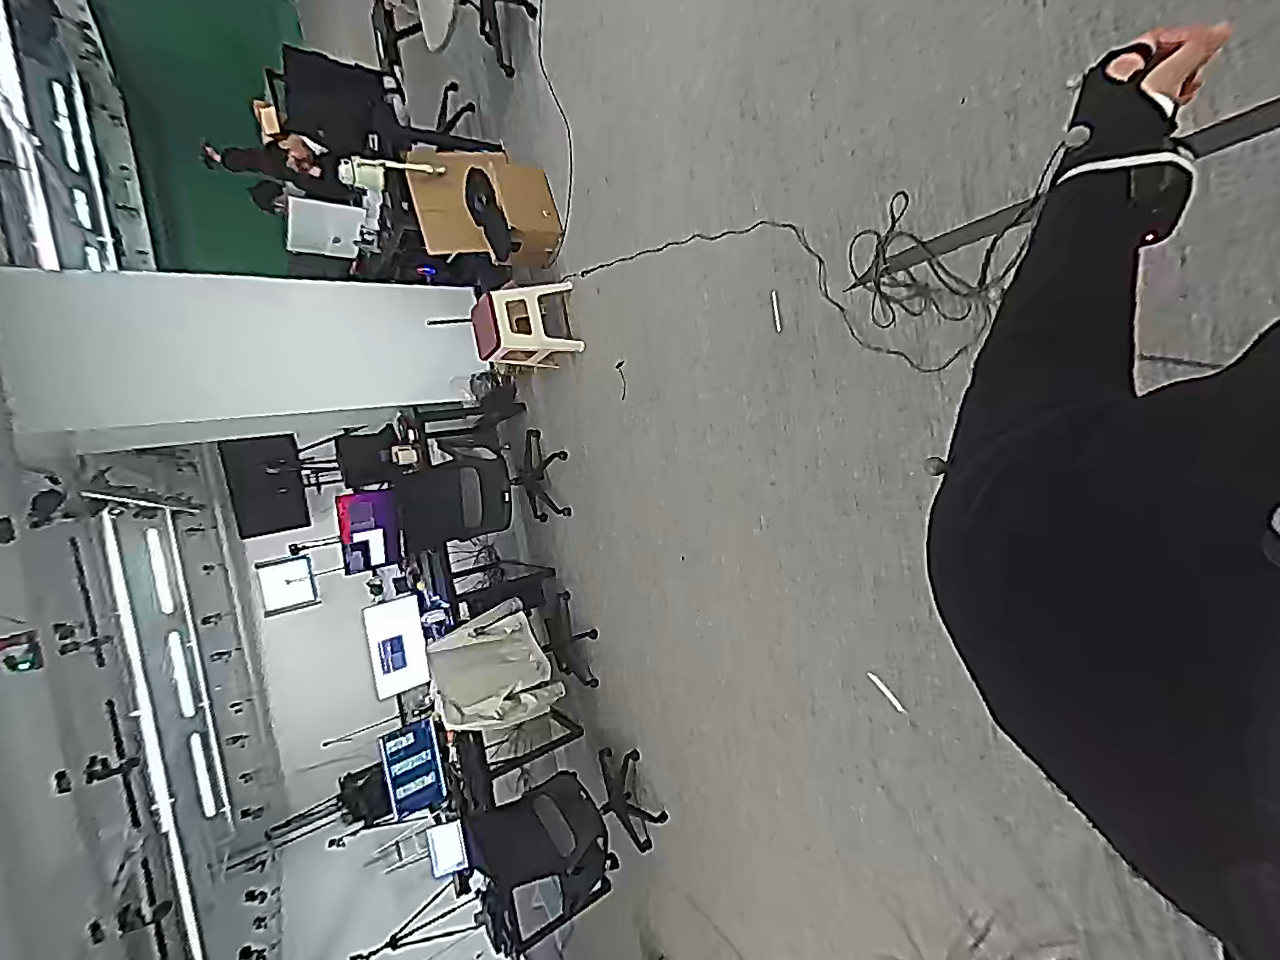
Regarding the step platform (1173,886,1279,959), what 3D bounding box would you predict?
[{"bbox_3d":[1.198,0.871,0.710,0.684,0.204,0.286,-9,93,57],"label":"step platform"}]
